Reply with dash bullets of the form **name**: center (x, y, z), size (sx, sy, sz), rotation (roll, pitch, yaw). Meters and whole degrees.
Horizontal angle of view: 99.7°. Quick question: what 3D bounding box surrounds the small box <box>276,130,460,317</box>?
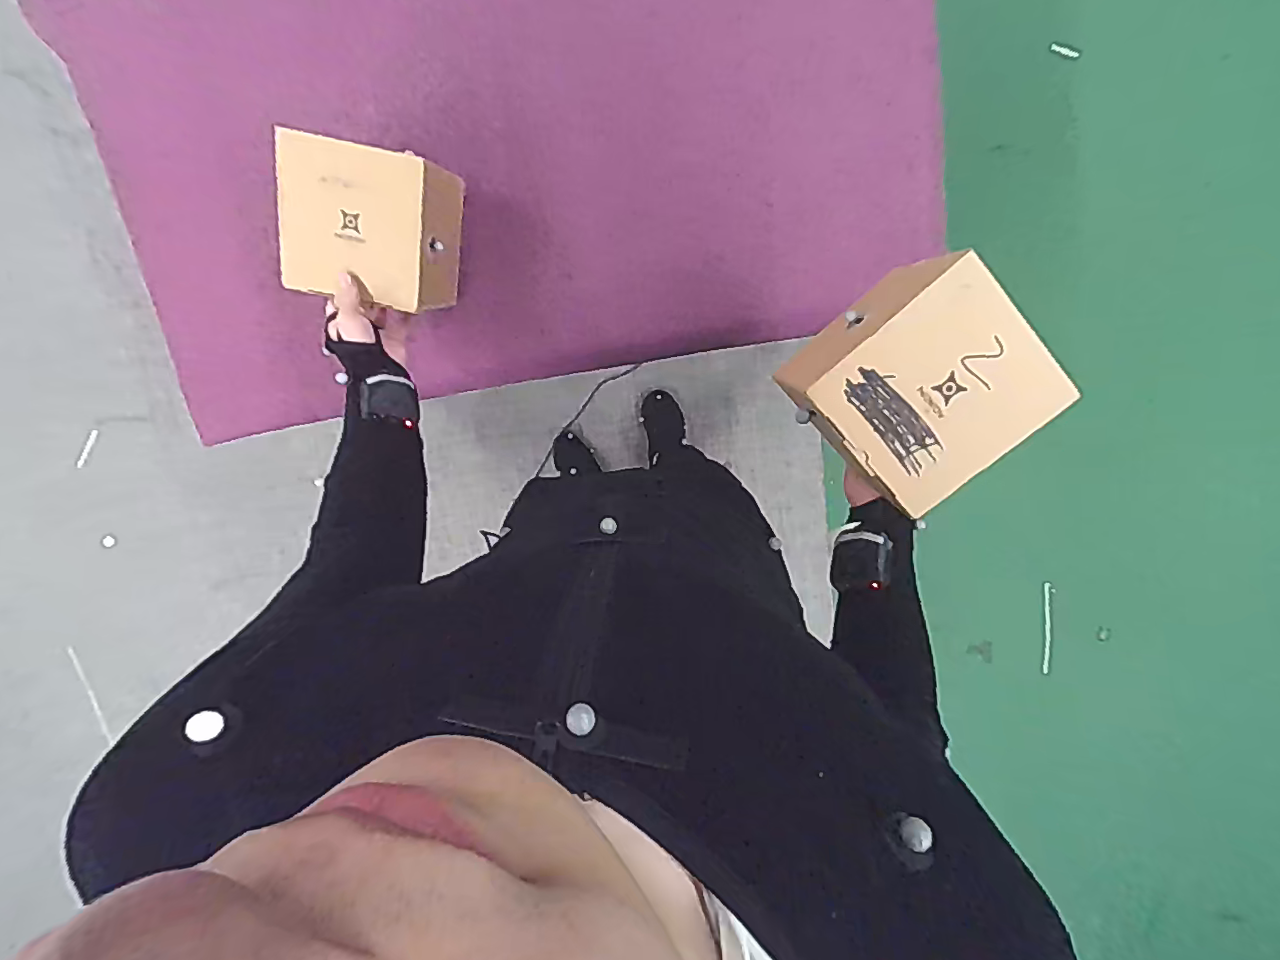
- **small box**: center (-0.347, -0.329, 0.717), size (0.168, 0.176, 0.179), rotation (10, 111, -6)
